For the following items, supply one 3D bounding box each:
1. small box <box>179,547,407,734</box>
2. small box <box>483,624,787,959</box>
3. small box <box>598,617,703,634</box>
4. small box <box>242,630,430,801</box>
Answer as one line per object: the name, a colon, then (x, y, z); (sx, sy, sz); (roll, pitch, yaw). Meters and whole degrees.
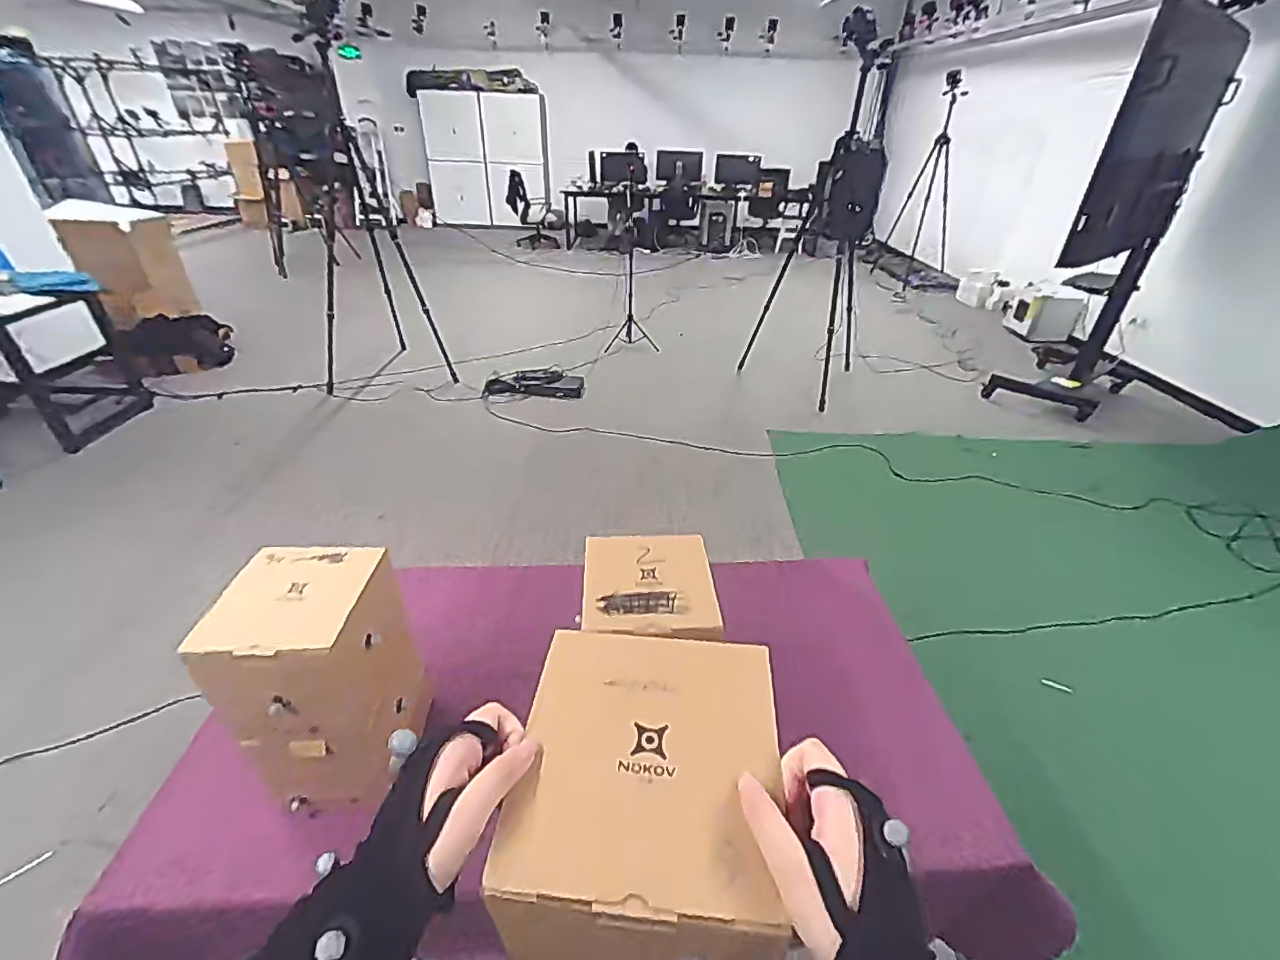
small box: (-0.420, 0.206, 0.697); (0.168, 0.176, 0.179); (1, 34, -3)
small box: (0.007, 0.232, 0.395); (0.168, 0.176, 0.179); (3, 36, 5)
small box: (0.012, 0.332, 0.821); (0.168, 0.176, 0.179); (0, 34, -1)
small box: (-0.420, 0.344, 0.787); (0.168, 0.176, 0.179); (-1, 33, -4)
